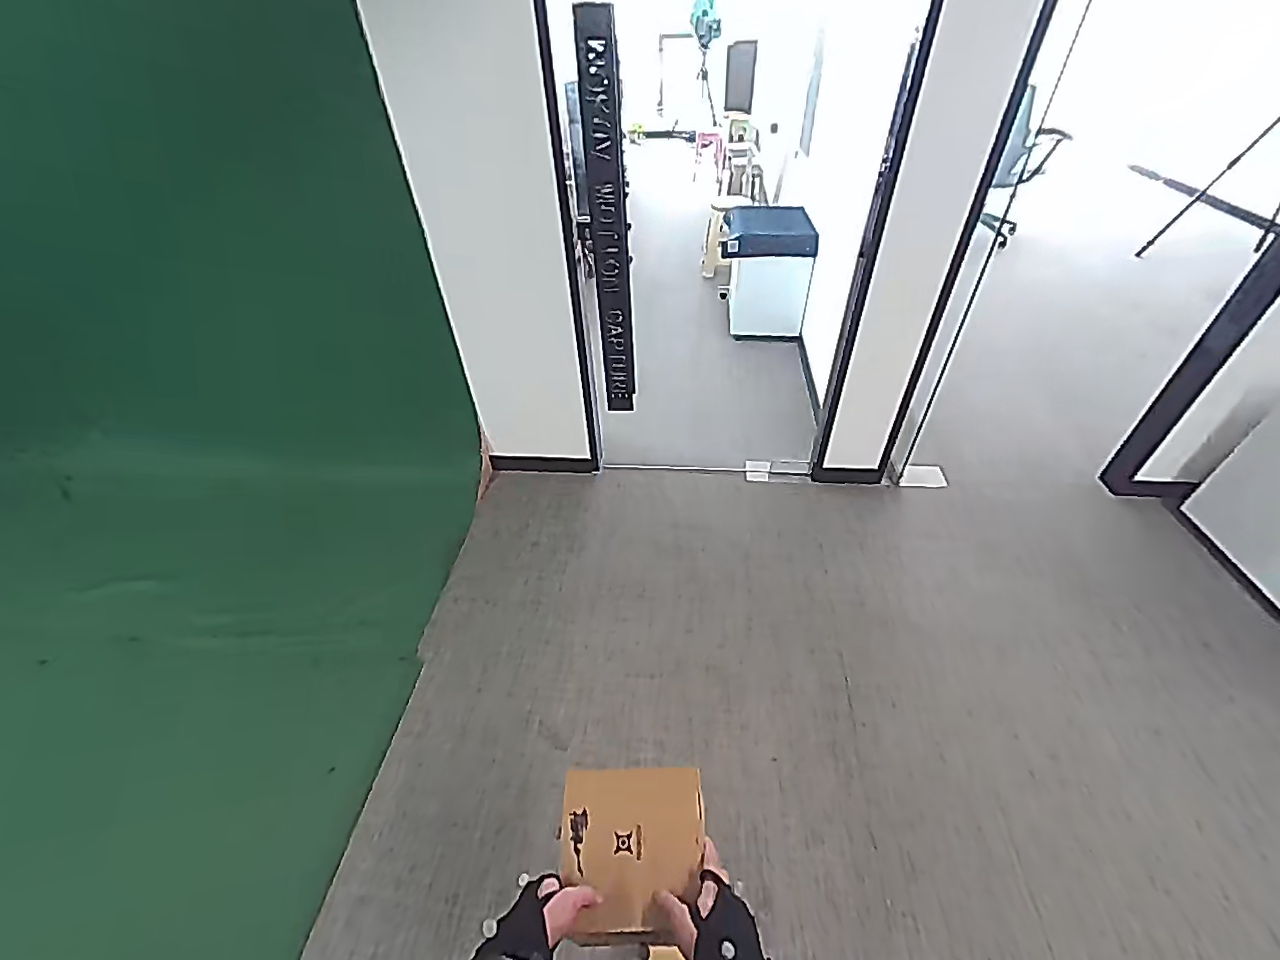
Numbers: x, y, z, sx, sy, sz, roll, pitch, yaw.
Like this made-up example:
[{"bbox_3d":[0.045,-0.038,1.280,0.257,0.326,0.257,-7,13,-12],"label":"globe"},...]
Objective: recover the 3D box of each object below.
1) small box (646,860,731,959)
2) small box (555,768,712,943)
[{"bbox_3d":[0.108,0.946,1.175,0.168,0.176,0.179,3,44,9],"label":"small box"},{"bbox_3d":[-0.001,0.491,0.708,0.179,0.176,0.168,-4,45,4],"label":"small box"}]
